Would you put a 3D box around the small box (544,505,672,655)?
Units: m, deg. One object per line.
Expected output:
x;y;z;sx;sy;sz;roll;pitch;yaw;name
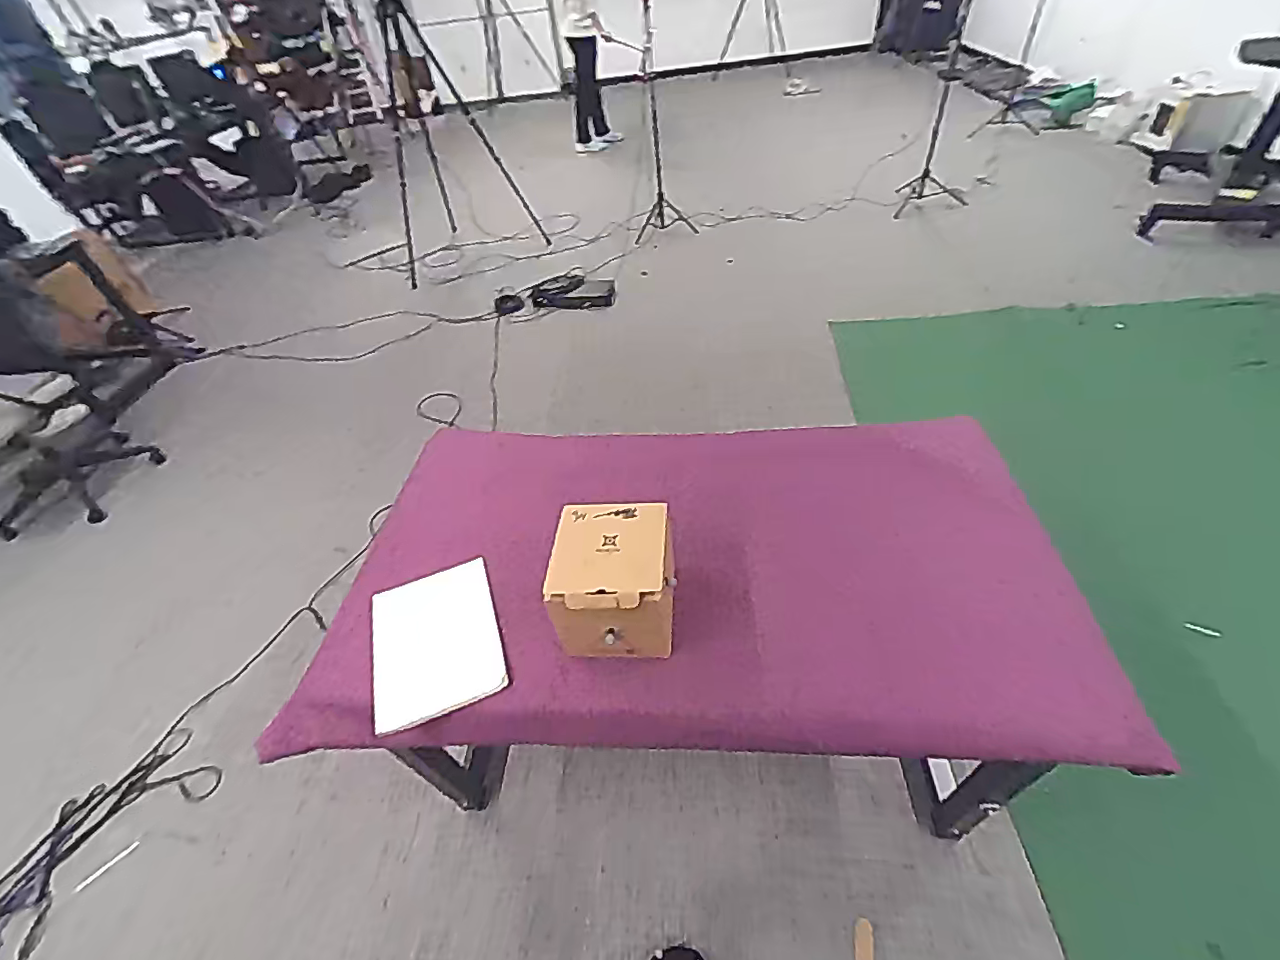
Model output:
-0.038;0.158;0.847;0.168;0.176;0.179;-1;46;7;small box
